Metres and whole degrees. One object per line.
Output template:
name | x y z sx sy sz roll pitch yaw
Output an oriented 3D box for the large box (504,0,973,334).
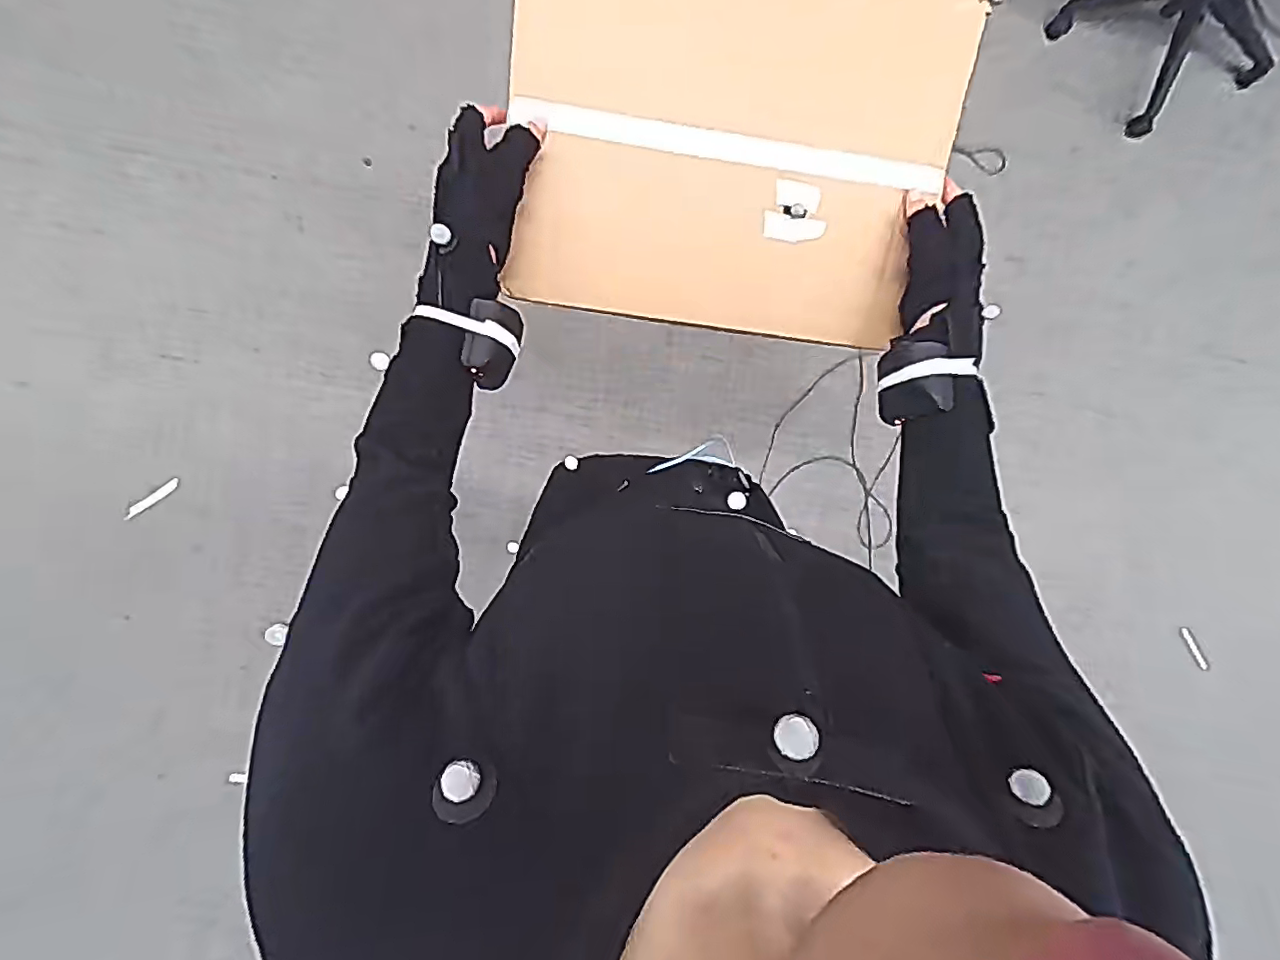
large box | 0.070 -0.358 0.639 0.408 0.320 0.320 7 107 -6
